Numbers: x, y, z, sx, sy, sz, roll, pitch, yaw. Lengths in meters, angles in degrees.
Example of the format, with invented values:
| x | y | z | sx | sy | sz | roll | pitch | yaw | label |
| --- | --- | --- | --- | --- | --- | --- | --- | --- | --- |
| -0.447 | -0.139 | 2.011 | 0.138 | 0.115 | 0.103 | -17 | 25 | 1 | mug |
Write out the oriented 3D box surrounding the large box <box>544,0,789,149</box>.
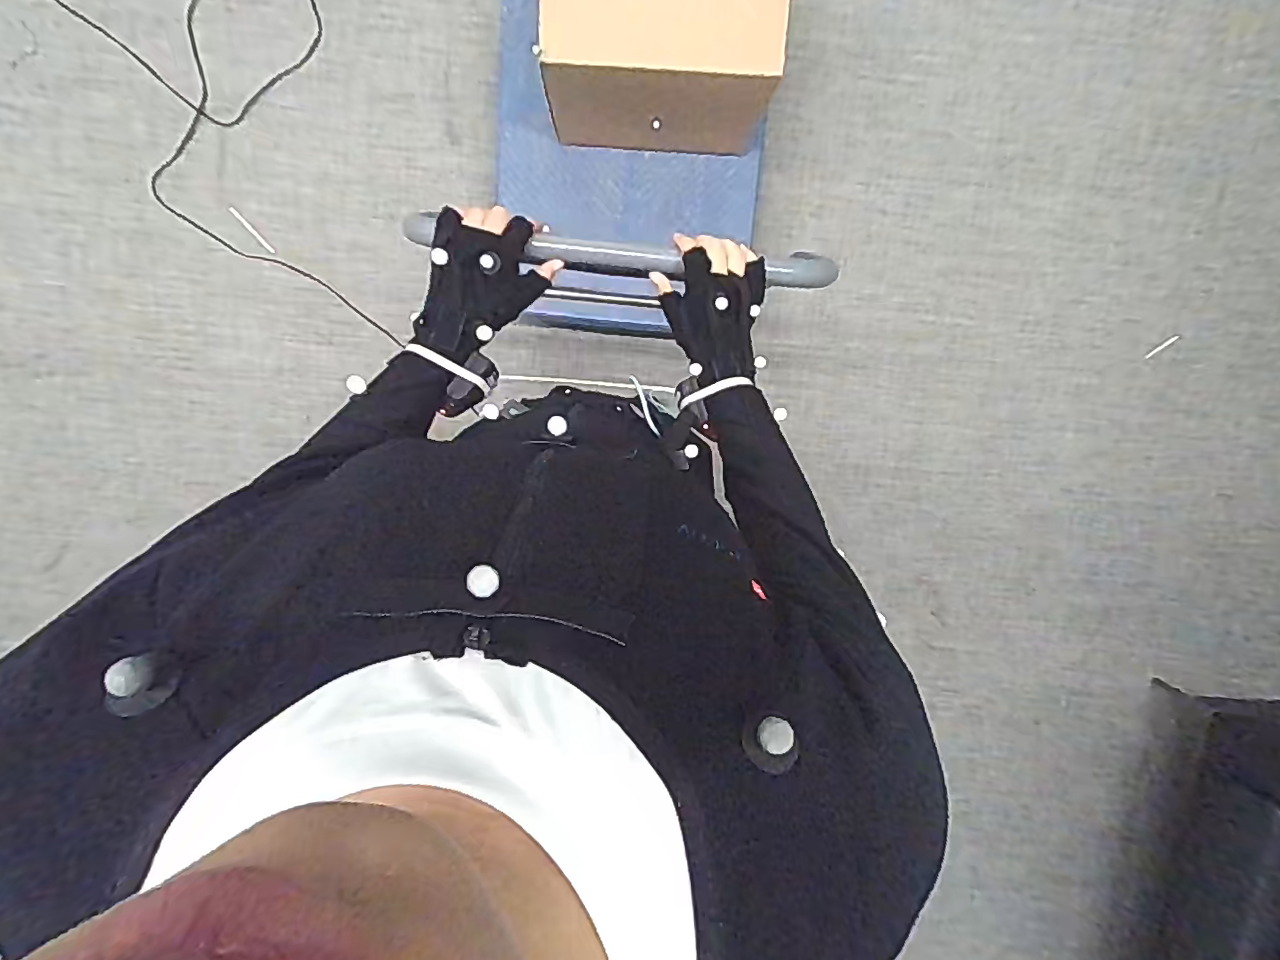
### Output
| x | y | z | sx | sy | sz | roll | pitch | yaw | label |
| --- | --- | --- | --- | --- | --- | --- | --- | --- | --- |
| 0.043 | -0.852 | 1.012 | 0.408 | 0.320 | 0.320 | 2 | 99 | -2 | large box |
